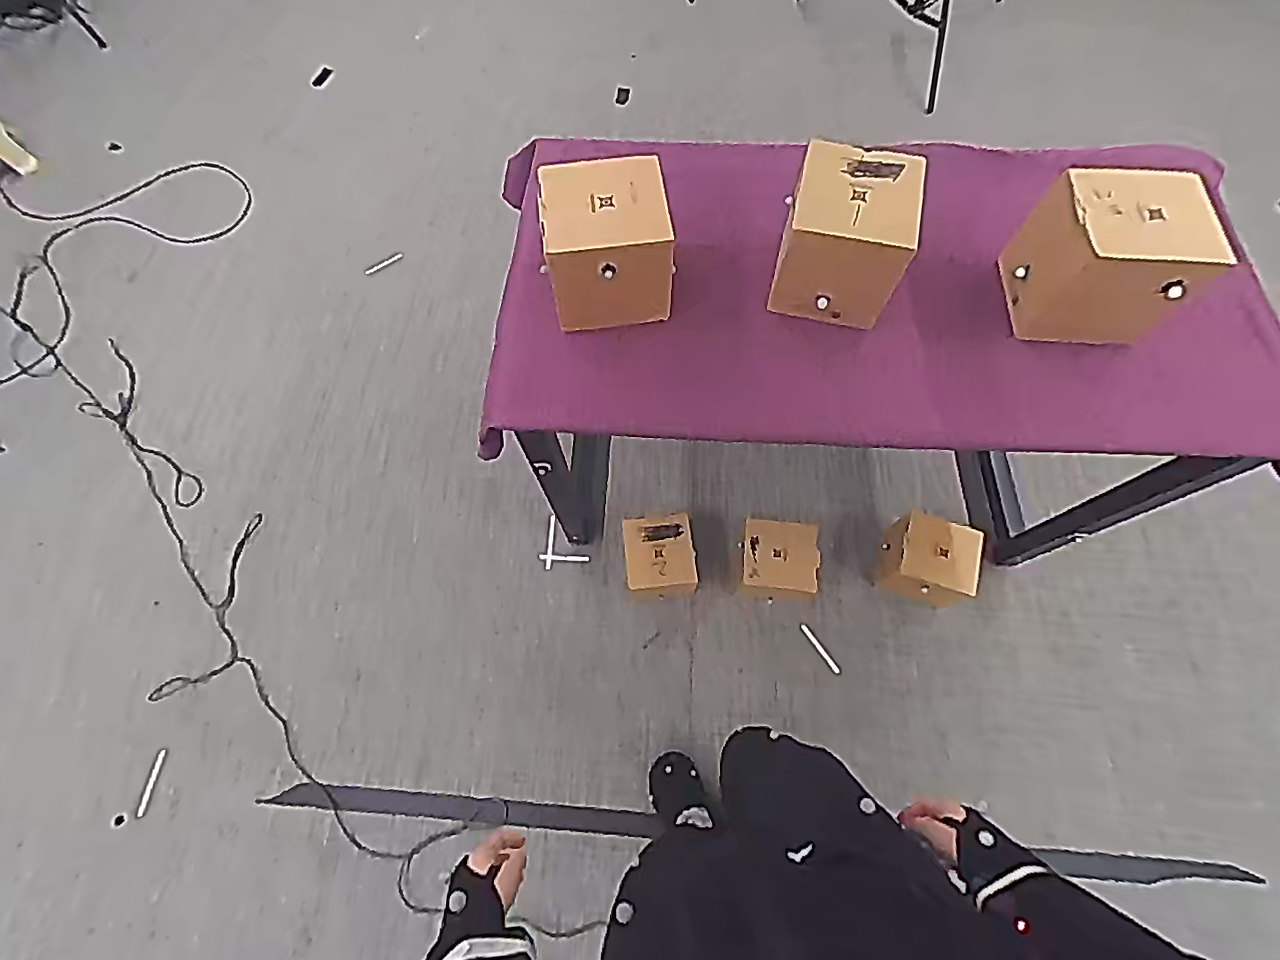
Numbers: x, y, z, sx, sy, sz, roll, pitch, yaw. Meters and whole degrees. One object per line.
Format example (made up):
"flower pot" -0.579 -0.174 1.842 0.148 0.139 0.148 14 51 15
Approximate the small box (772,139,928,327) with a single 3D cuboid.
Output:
"small box" 0.304 -0.361 0.807 0.168 0.176 0.179 13 69 7

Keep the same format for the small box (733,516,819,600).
"small box" 0.338 0.203 1.363 0.179 0.176 0.168 7 68 4

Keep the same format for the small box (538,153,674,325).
"small box" -0.048 -0.352 0.813 0.179 0.176 0.168 -7 69 -3

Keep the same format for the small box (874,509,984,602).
"small box" 0.719 0.196 1.356 0.179 0.176 0.168 18 70 10

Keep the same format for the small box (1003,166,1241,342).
"small box" 0.670 -0.316 0.778 0.179 0.176 0.168 4 67 4
